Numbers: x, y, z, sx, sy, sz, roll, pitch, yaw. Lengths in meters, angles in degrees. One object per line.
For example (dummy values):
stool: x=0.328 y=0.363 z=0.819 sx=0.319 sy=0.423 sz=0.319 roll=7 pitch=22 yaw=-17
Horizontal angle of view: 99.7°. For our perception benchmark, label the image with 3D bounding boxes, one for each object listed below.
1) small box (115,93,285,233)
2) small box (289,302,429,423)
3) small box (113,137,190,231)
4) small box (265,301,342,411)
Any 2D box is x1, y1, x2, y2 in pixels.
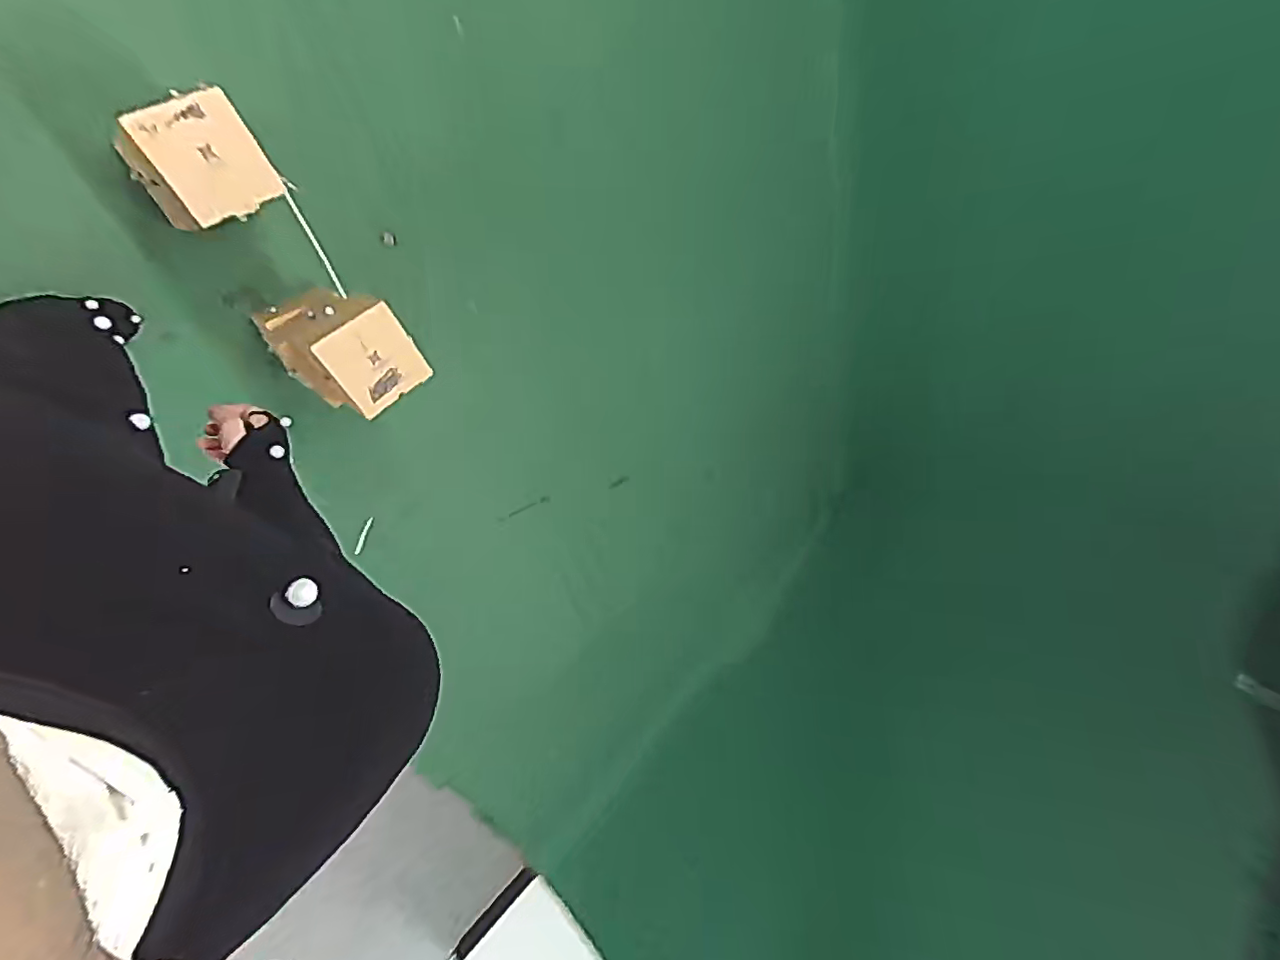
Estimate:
small box: x=-0.803 y=-0.574 z=0.991 sx=0.168 sy=0.176 sz=0.179 roll=-42 pitch=133 yaw=-25
small box: x=-0.579 y=-0.249 z=1.117 sx=0.168 sy=0.176 sz=0.179 roll=-44 pitch=133 yaw=-22
small box: x=-0.914 y=-0.620 z=1.105 sx=0.179 sy=0.176 sz=0.168 roll=-39 pitch=131 yaw=-26
small box: x=-0.701 y=-0.287 z=1.222 sx=0.179 sy=0.176 sz=0.168 roll=-45 pitch=134 yaw=-20
